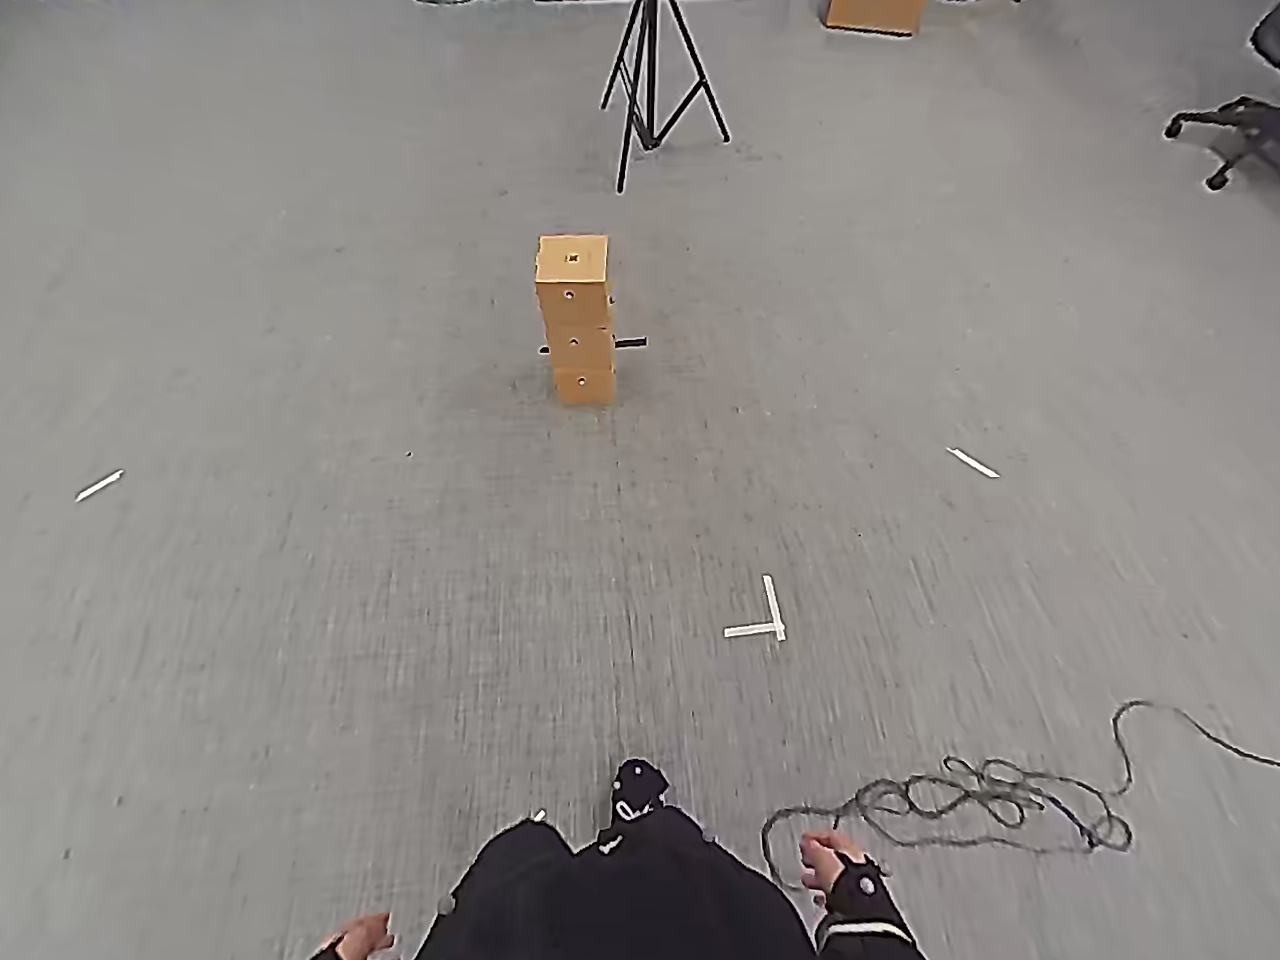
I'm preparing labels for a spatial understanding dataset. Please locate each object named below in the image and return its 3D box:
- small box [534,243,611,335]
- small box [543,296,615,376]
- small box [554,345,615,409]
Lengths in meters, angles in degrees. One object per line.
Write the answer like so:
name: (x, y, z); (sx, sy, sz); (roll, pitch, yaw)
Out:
small box: (-0.171, -0.499, 1.424); (0.179, 0.176, 0.168); (0, 64, 0)
small box: (-0.170, -0.418, 1.565); (0.179, 0.176, 0.168); (3, 63, 2)
small box: (-0.168, -0.335, 1.708); (0.179, 0.176, 0.168); (0, 63, 0)
